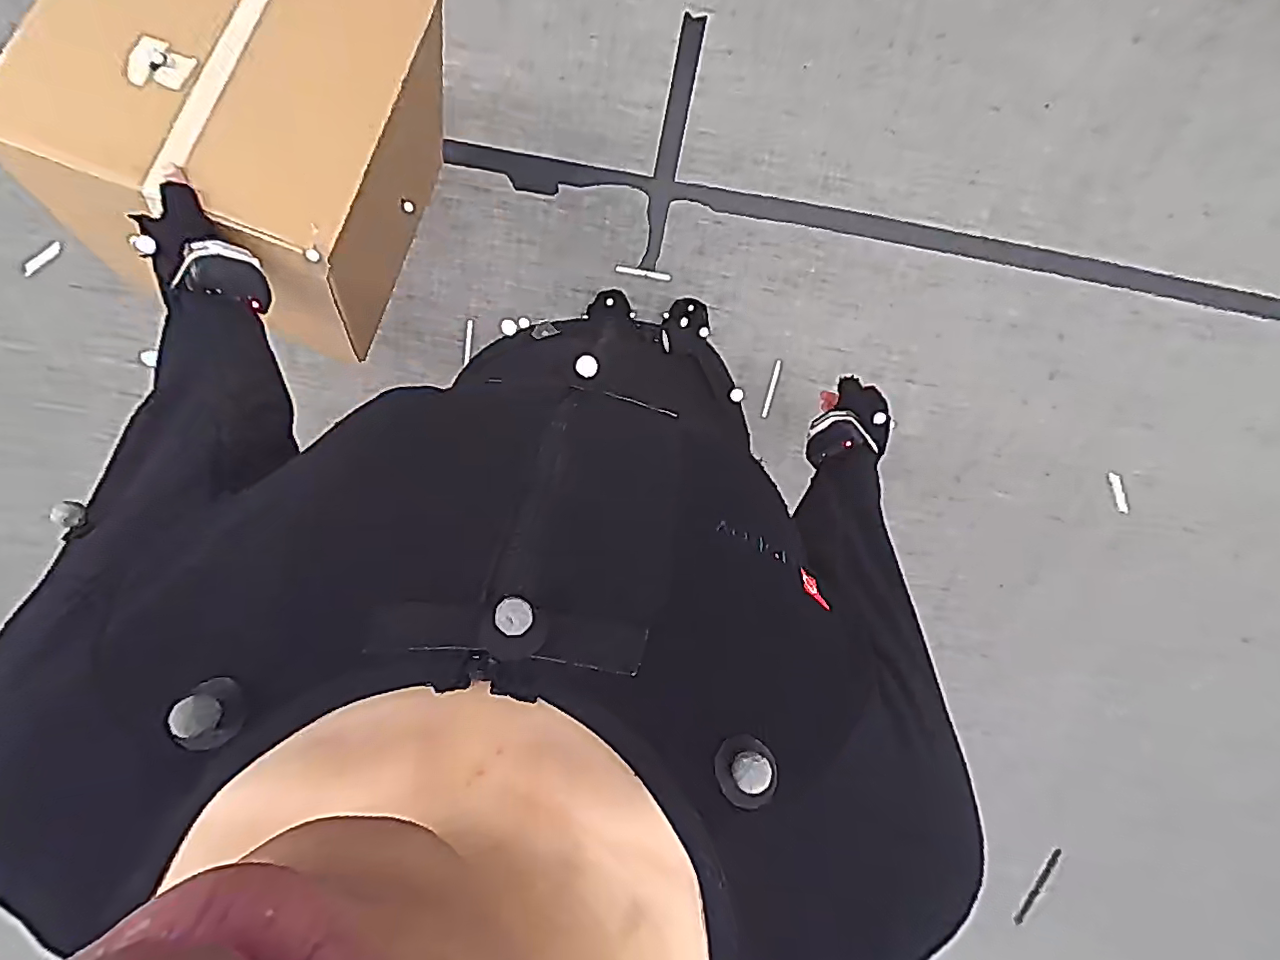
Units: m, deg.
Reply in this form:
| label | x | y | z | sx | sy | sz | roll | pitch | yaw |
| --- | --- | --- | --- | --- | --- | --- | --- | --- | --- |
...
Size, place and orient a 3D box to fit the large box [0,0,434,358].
| label | x | y | z | sx | sy | sz | roll | pitch | yaw |
| --- | --- | --- | --- | --- | --- | --- | --- | --- | --- |
| large box | -0.493 | -0.446 | 0.742 | 0.320 | 0.320 | 0.408 | 17 | 76 | -15 |
